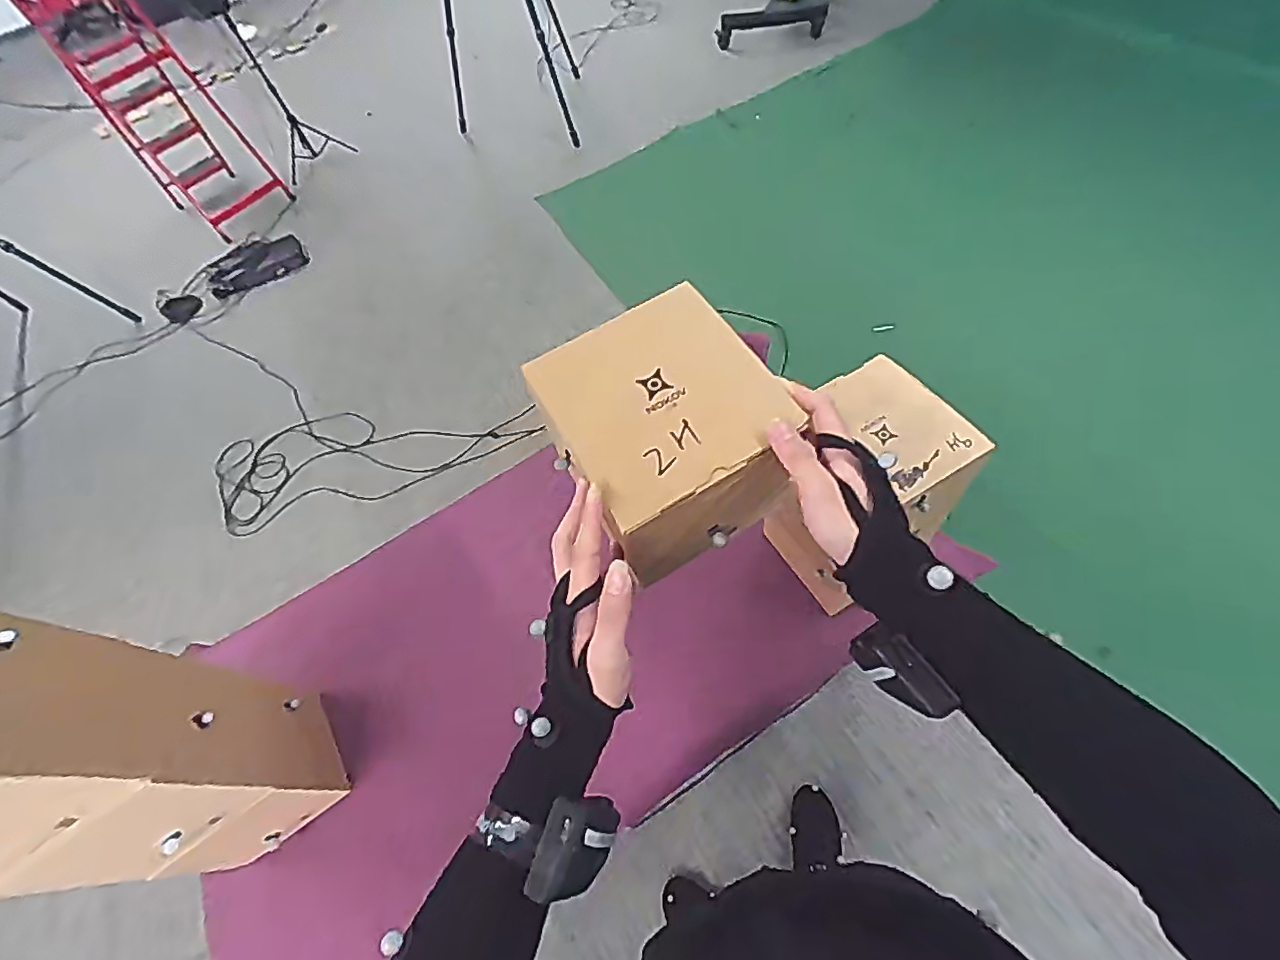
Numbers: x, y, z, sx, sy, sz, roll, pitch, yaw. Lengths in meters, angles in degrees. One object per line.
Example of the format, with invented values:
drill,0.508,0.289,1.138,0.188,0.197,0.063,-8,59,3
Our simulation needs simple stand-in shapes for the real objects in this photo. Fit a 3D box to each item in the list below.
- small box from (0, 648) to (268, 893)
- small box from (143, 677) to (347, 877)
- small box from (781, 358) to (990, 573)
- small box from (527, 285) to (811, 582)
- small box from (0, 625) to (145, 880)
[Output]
small box,-0.582,0.332,0.630,0.168,0.176,0.179,-35,61,-11
small box,-0.559,0.416,0.768,0.168,0.176,0.179,-35,61,-11
small box,0.283,-0.013,0.685,0.168,0.176,0.179,-30,58,-7
small box,0.022,-0.033,0.495,0.168,0.176,0.179,-30,66,-8
small box,-0.606,0.250,0.492,0.168,0.176,0.179,-36,60,-11
